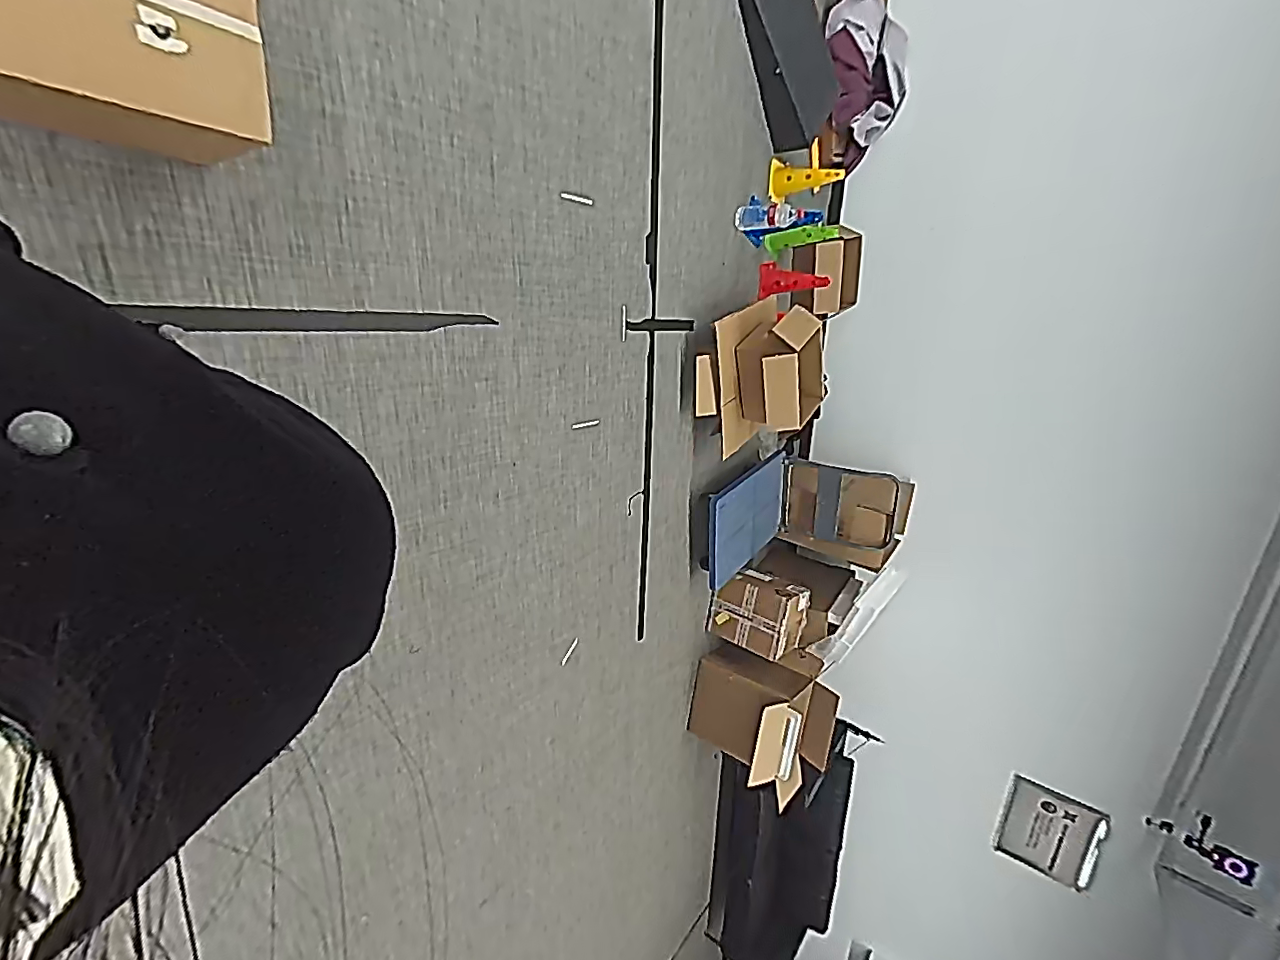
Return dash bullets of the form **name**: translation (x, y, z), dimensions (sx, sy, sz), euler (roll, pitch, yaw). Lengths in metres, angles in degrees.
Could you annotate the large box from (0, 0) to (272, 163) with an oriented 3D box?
- **large box**: translation (-0.869, -0.724, 0.827), dimensions (0.408, 0.320, 0.320), euler (-17, 116, -51)
